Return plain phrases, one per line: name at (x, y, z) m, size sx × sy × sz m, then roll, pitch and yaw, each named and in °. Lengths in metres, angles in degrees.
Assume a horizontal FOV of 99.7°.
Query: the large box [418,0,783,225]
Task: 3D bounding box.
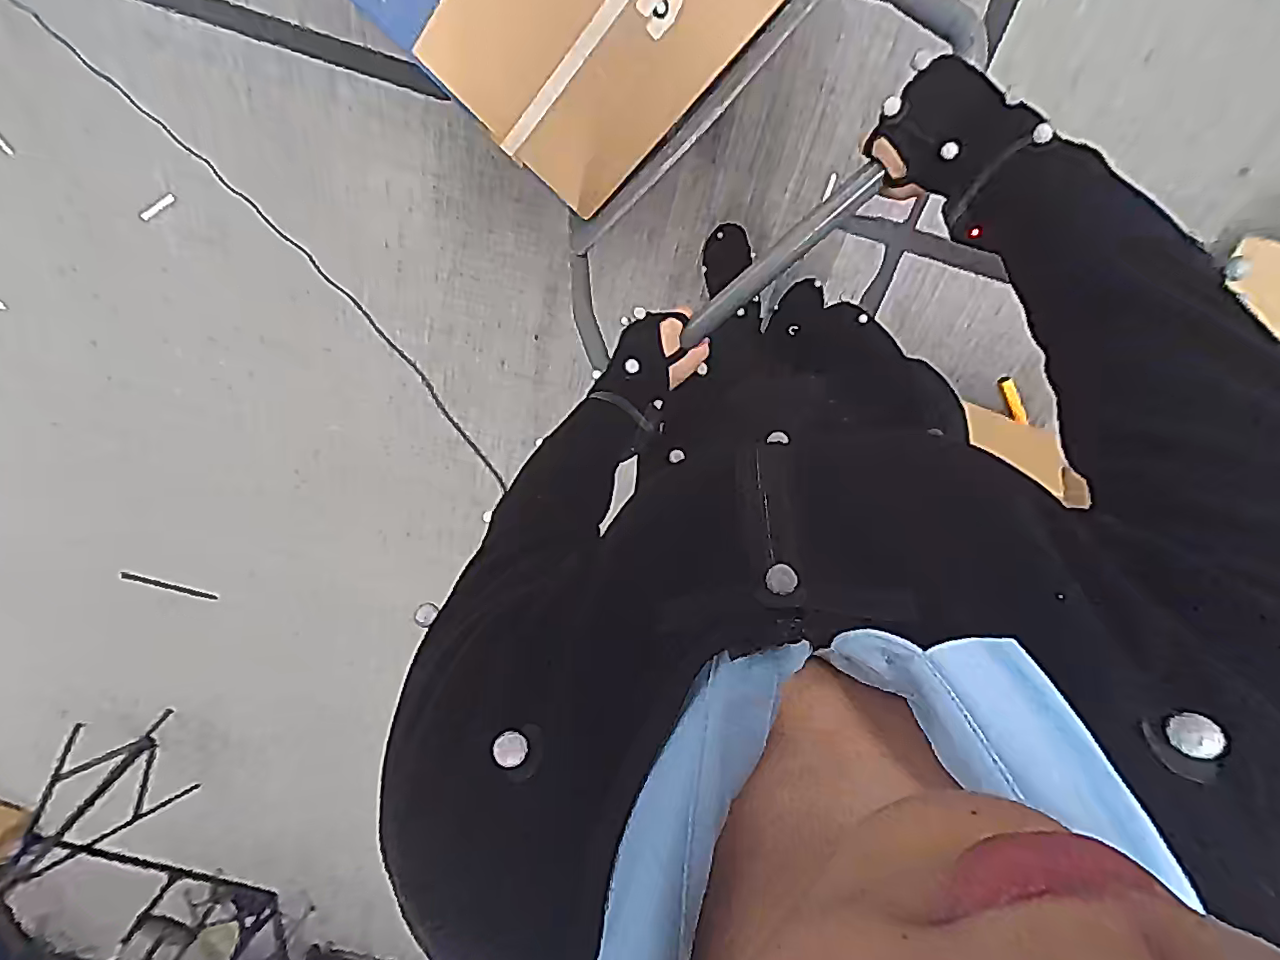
large box at (-0.063, -0.688, 0.810) m, size 0.408 × 0.320 × 0.320 m, roll -38°, pitch 126°, yaw 26°
